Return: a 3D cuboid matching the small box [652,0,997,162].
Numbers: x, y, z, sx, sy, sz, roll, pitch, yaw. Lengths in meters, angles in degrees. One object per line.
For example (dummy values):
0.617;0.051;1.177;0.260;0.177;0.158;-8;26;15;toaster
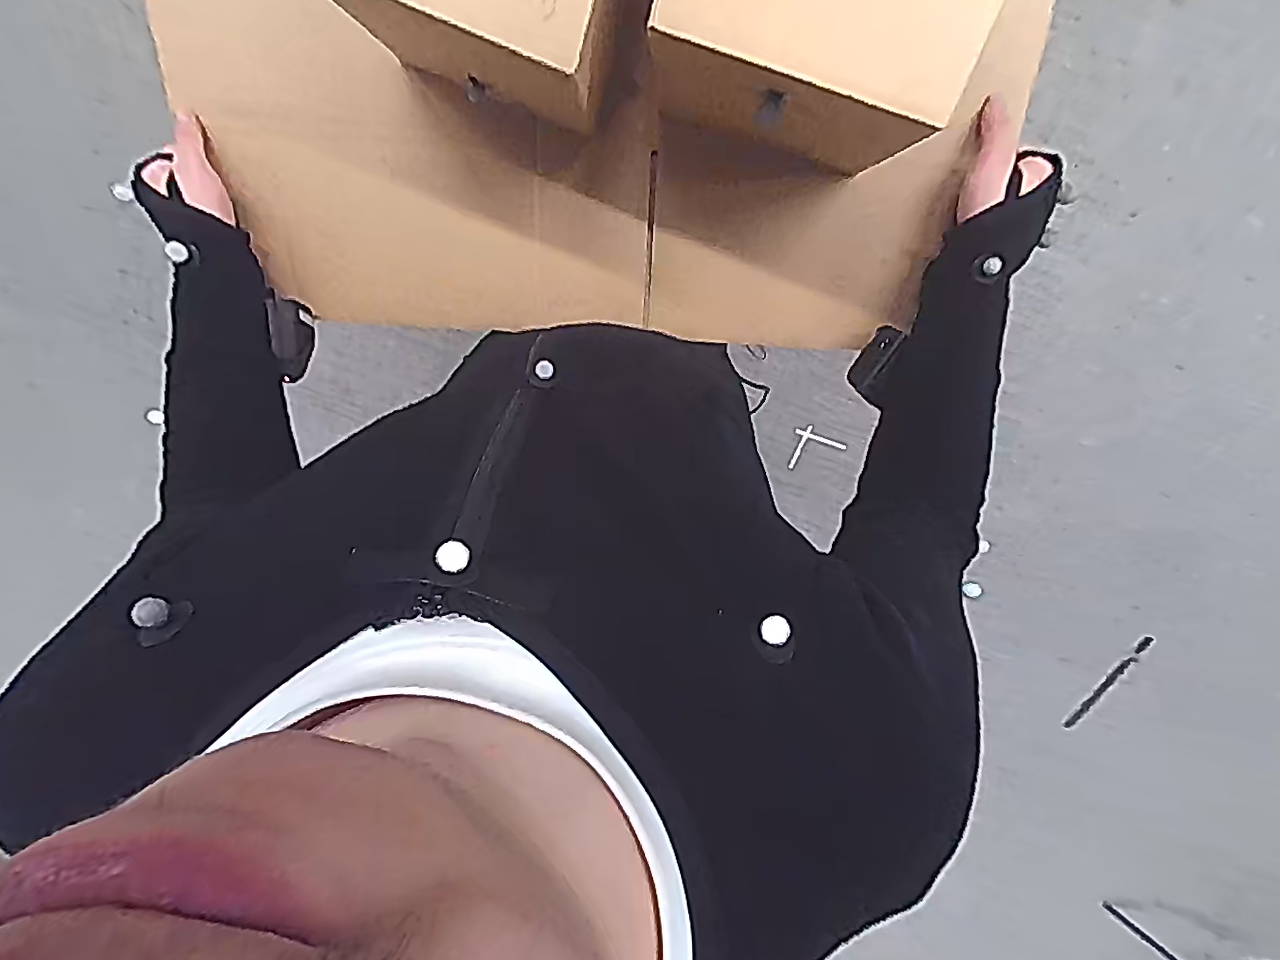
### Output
0.119;-0.326;0.350;0.179;0.176;0.168;18;113;-2;small box
